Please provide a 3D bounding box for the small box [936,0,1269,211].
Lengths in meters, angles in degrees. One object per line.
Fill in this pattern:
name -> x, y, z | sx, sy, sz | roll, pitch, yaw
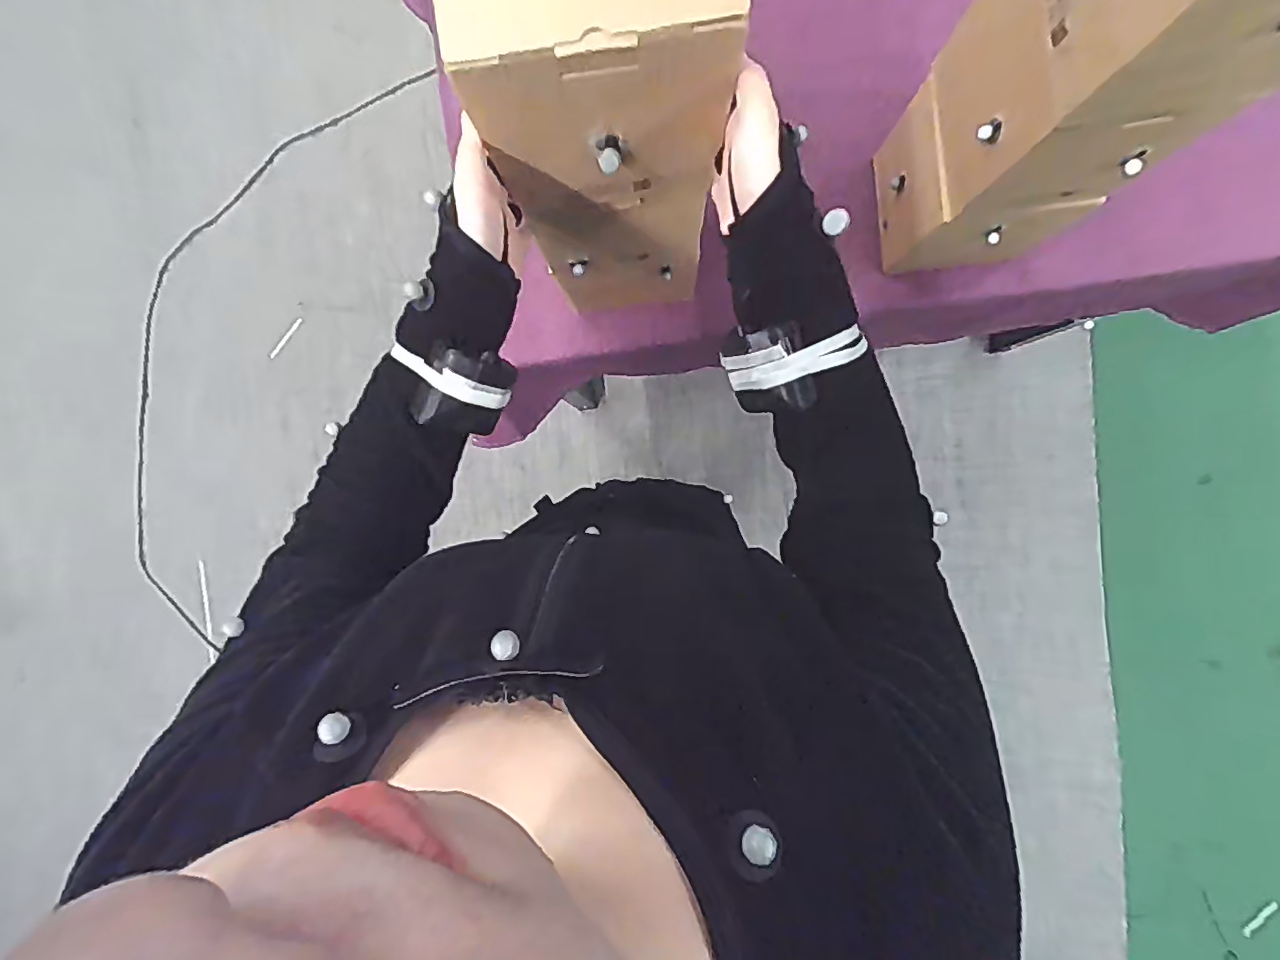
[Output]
small box -> 0.409, -0.377, 0.509 | 0.168, 0.176, 0.179 | -7, 90, 2

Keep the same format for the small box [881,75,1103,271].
small box -> 0.416, -0.375, 0.672 | 0.179, 0.176, 0.168 | -5, 92, 3

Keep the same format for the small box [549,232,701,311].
small box -> -0.021, -0.329, 0.695 | 0.179, 0.176, 0.168 | -7, 91, 2

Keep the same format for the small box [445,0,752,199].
small box -> -0.026, -0.313, 0.365 | 0.168, 0.176, 0.179 | -7, 92, 1

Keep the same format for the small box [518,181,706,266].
small box -> -0.027, -0.327, 0.531 | 0.168, 0.176, 0.179 | -7, 90, 2
